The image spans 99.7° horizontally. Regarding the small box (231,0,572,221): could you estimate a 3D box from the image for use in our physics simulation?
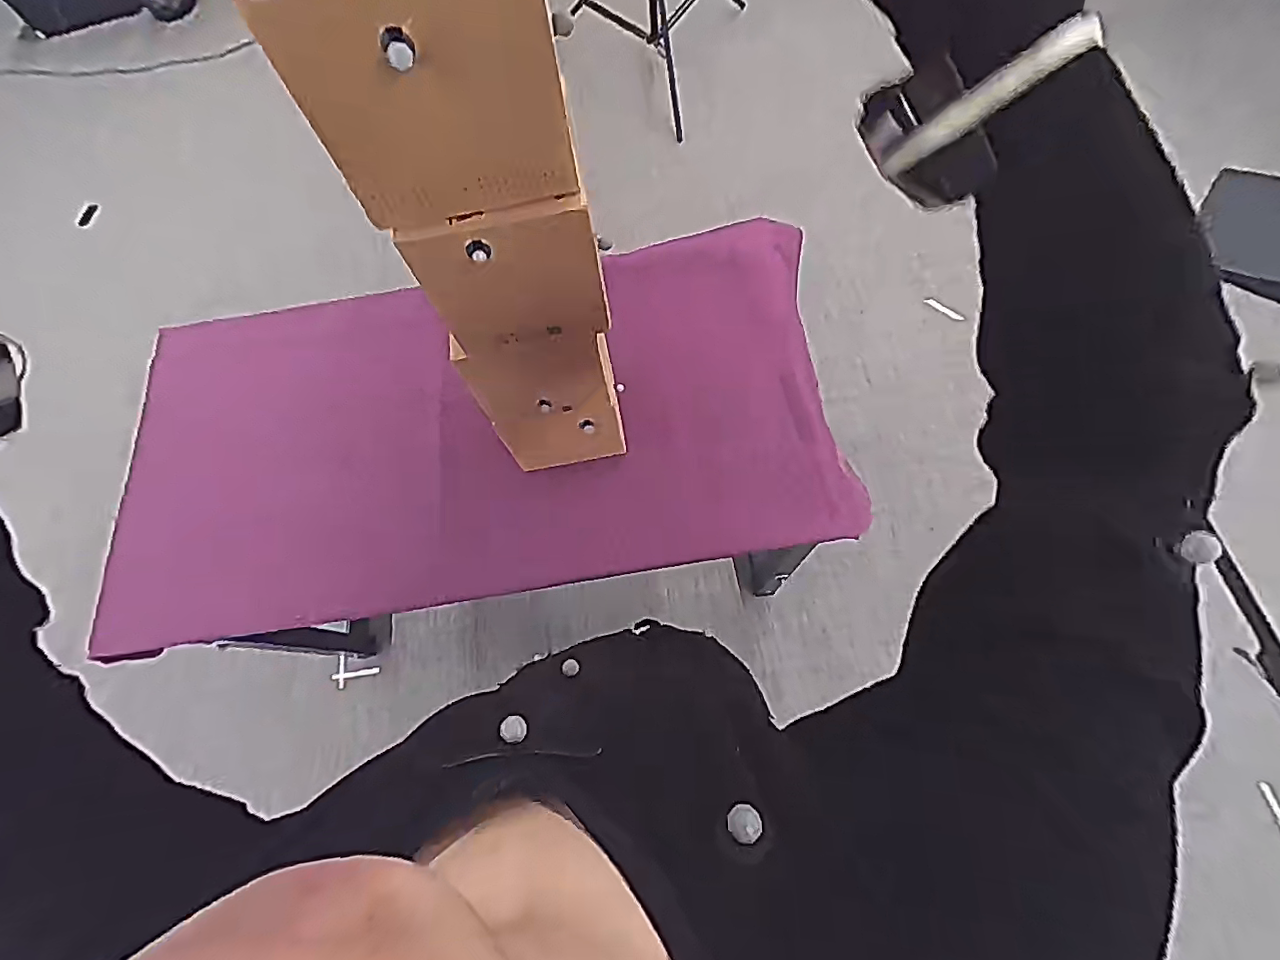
[{"bbox_3d":[-0.152,-0.328,0.402,0.179,0.176,0.168,-11,68,0],"label":"small box"}]

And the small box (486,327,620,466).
[{"bbox_3d":[-0.129,-0.137,0.852,0.179,0.176,0.168,-10,68,1],"label":"small box"}]

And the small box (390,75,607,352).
[{"bbox_3d":[-0.132,-0.259,0.548,0.168,0.176,0.179,-10,68,0],"label":"small box"}]
